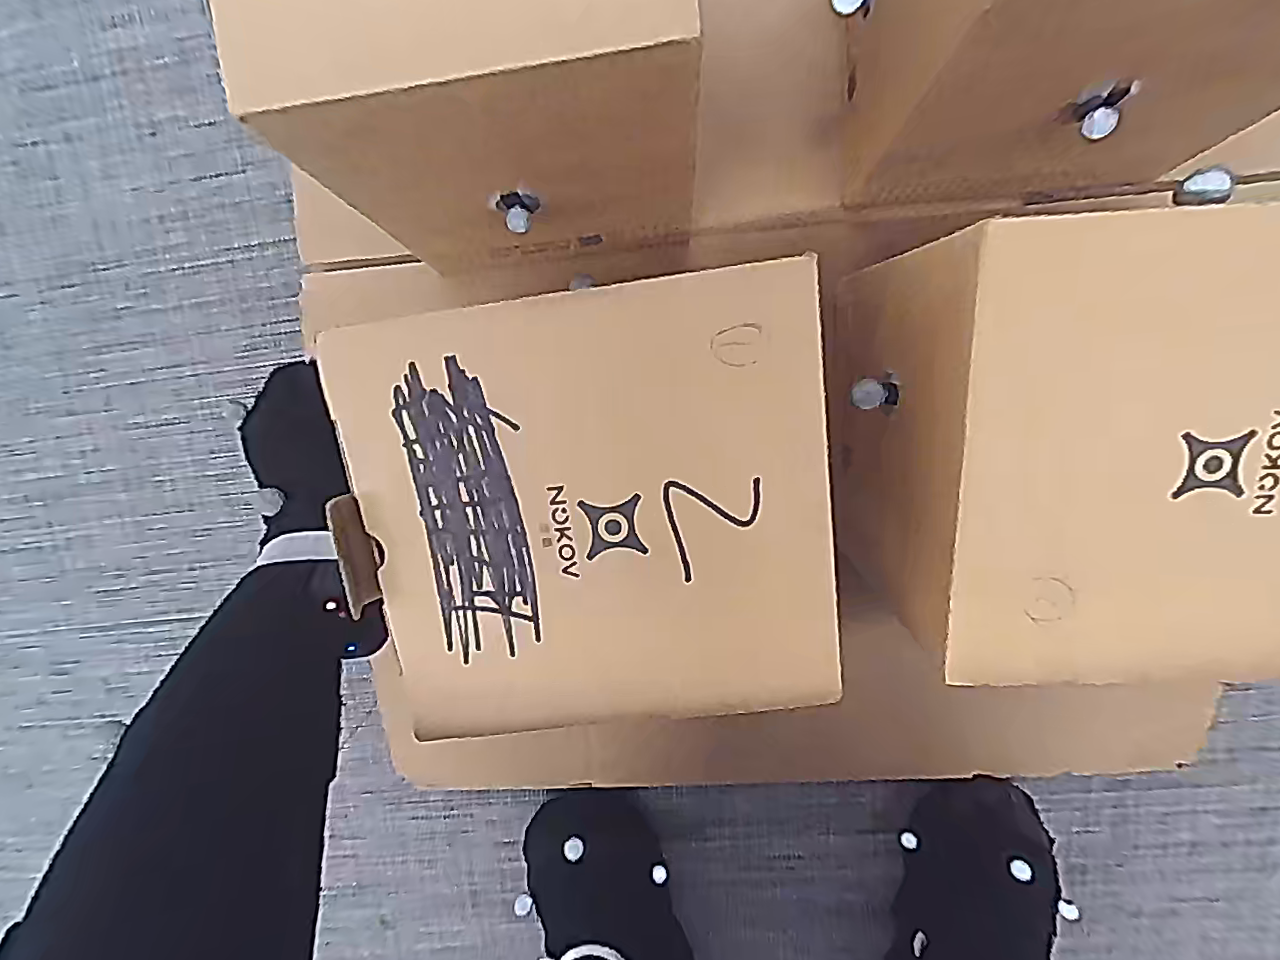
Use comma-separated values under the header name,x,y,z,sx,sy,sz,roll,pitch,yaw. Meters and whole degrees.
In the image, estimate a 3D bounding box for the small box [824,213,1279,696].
name,x,y,z,sx,sy,sz,roll,pitch,yaw
small box,0.197,-0.020,0.260,0.179,0.176,0.168,-1,104,4

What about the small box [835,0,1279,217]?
name,x,y,z,sx,sy,sz,roll,pitch,yaw
small box,0.198,-0.236,0.238,0.179,0.176,0.168,-2,93,5

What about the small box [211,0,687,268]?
name,x,y,z,sx,sy,sz,roll,pitch,yaw
small box,-0.065,-0.216,0.260,0.168,0.176,0.179,-5,92,4
